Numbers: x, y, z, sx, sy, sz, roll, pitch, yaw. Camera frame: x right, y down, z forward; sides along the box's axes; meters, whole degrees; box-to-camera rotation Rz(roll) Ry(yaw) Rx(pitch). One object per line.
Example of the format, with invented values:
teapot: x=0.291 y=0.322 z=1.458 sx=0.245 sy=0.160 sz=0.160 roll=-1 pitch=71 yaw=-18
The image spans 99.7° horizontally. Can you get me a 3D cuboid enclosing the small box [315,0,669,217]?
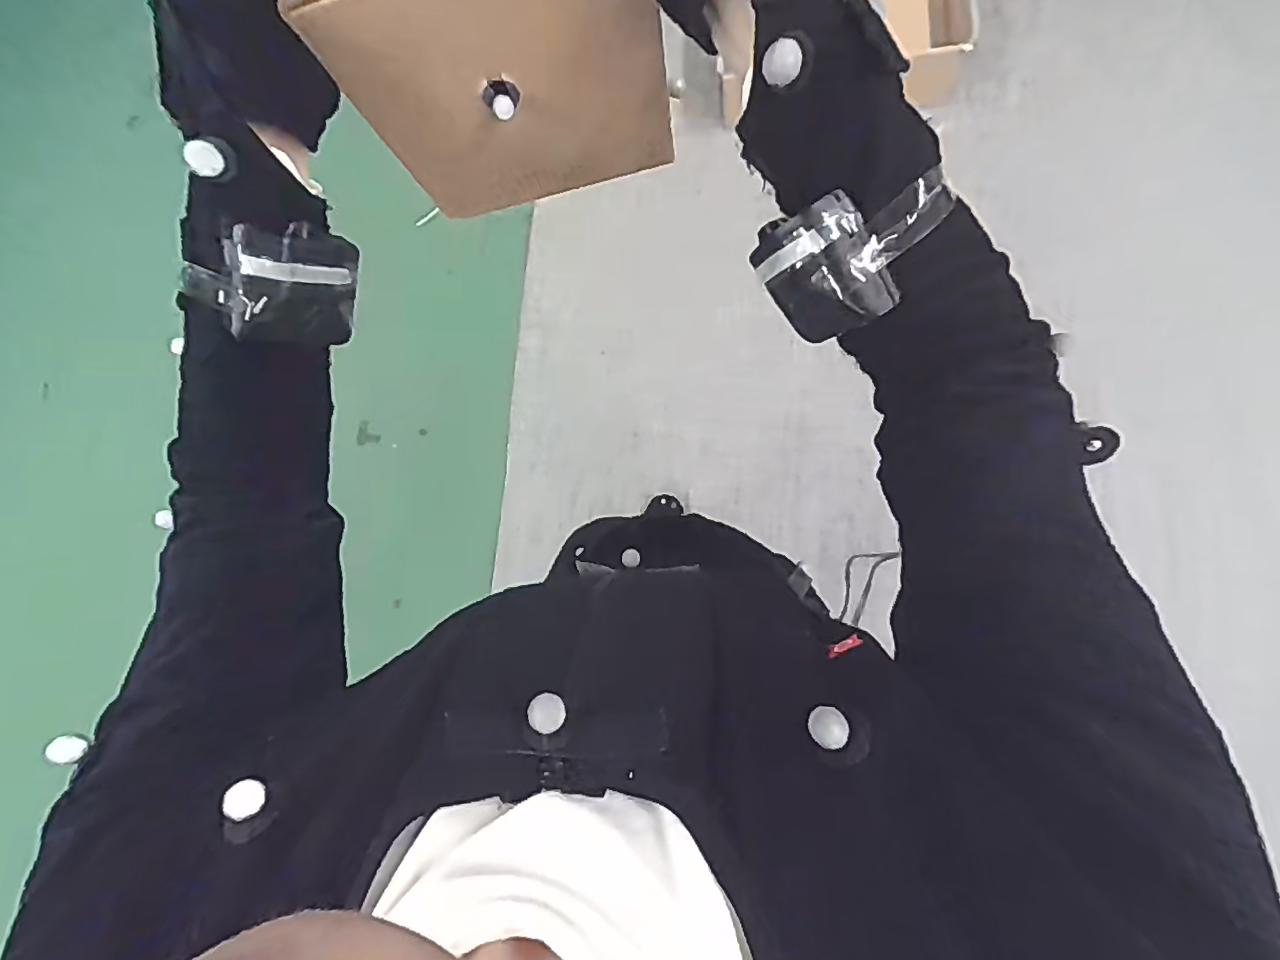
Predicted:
small box: x=-0.079 y=-0.307 z=0.353 sx=0.179 sy=0.176 sz=0.168 roll=-10 pitch=81 yaw=7
